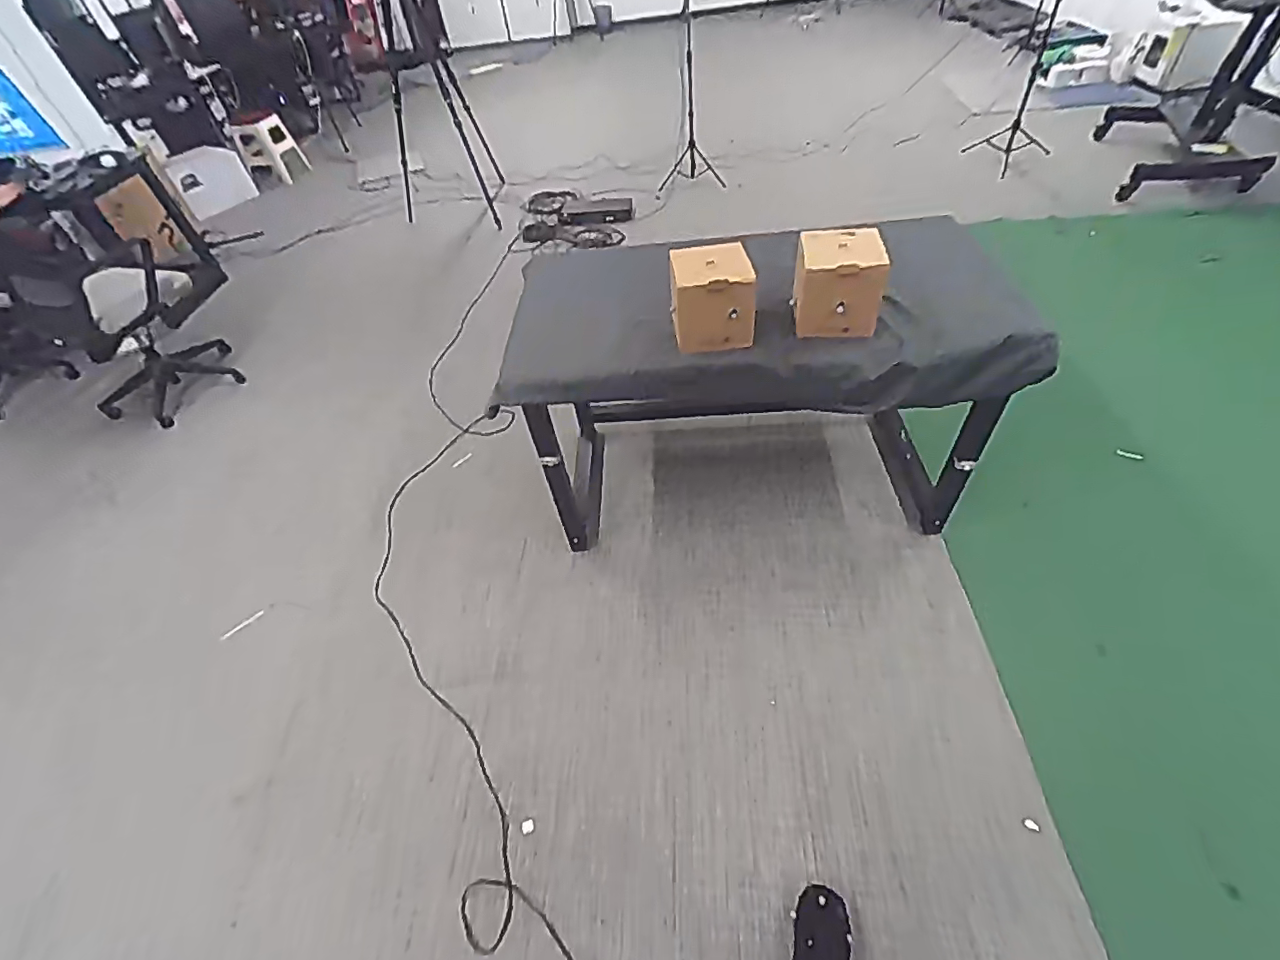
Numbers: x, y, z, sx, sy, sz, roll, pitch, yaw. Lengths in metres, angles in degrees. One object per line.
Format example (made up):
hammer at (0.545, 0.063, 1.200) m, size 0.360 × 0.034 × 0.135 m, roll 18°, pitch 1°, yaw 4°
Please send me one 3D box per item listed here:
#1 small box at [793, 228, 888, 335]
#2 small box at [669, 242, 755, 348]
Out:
small box at (0.436, -0.437, 1.204) m, size 0.168 × 0.176 × 0.179 m, roll 2°, pitch 49°, yaw 9°
small box at (0.158, -0.410, 1.217) m, size 0.168 × 0.176 × 0.179 m, roll -6°, pitch 46°, yaw 0°
